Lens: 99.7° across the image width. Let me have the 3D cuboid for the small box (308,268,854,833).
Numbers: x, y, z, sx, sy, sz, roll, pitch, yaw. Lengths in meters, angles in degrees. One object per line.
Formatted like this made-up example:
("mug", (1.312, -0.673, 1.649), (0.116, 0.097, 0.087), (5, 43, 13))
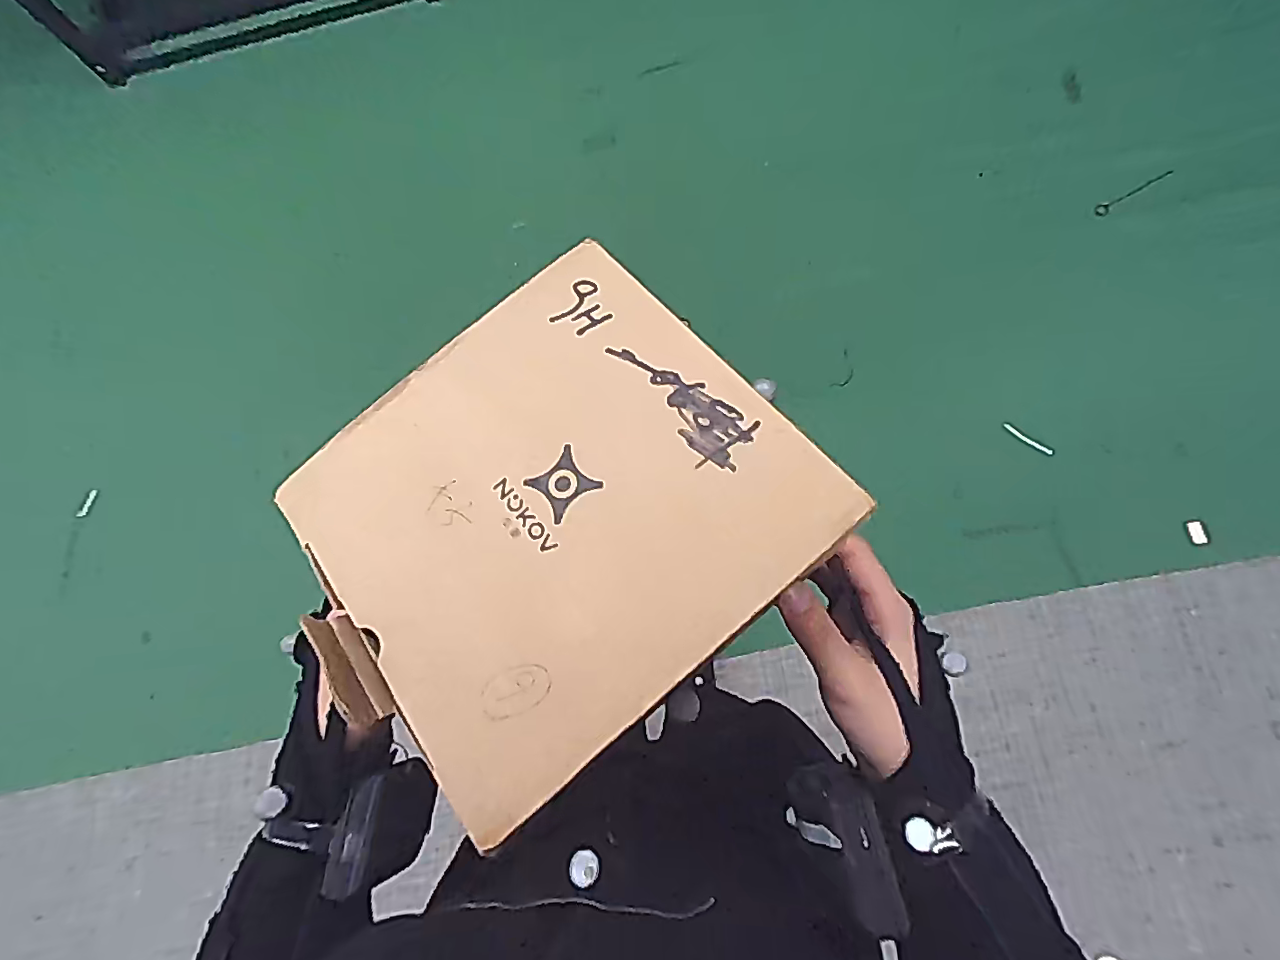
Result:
("small box", (-0.020, 0.036, 0.293), (0.179, 0.176, 0.168), (-41, 71, -4))
